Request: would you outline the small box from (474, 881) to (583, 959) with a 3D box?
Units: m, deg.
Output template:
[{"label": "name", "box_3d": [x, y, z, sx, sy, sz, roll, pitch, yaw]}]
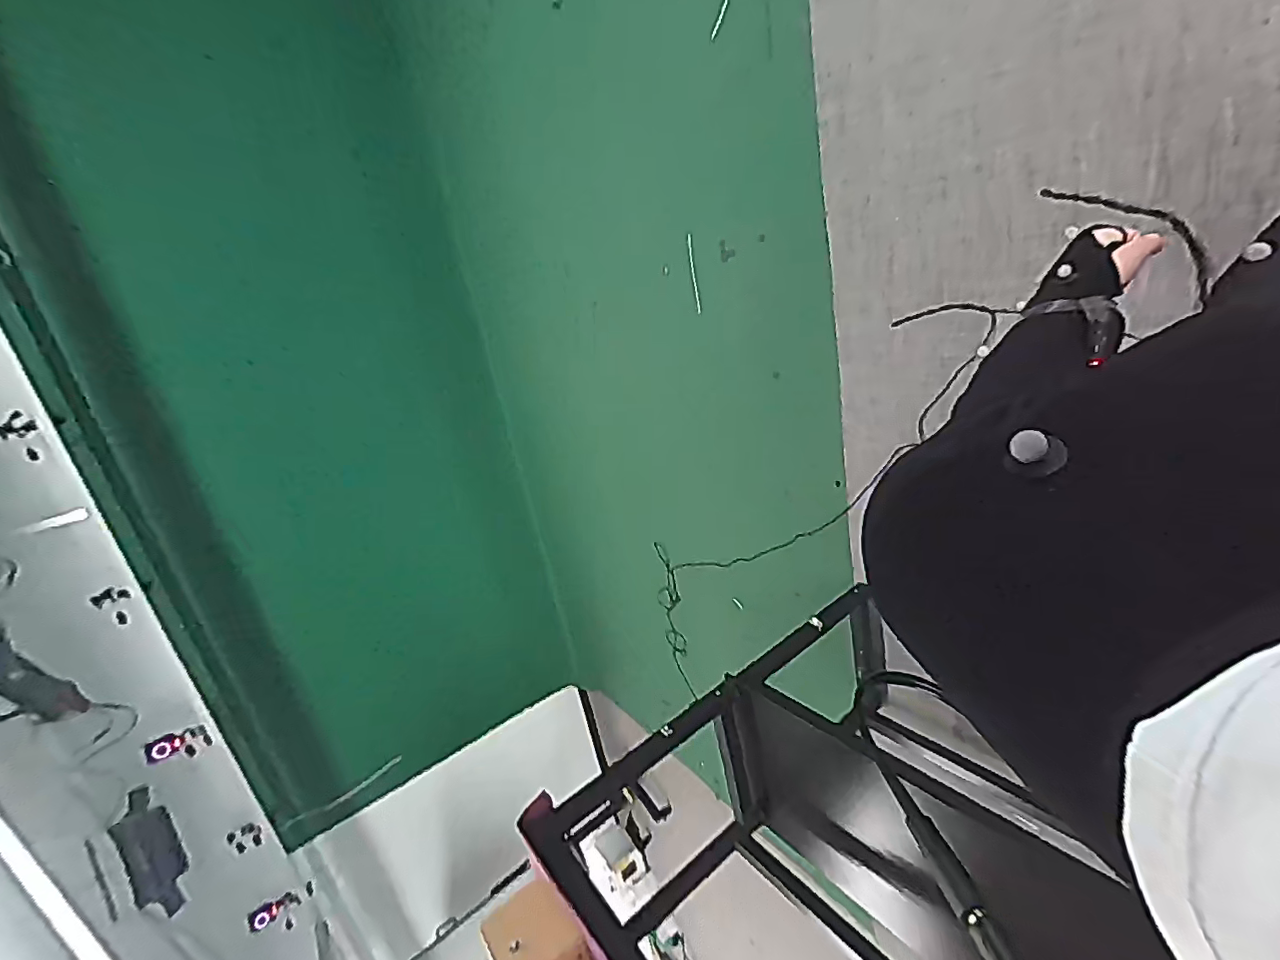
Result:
[{"label": "small box", "box_3d": [-0.232, 1.040, 1.177, 0.179, 0.176, 0.168, 18, 122, 51]}]
